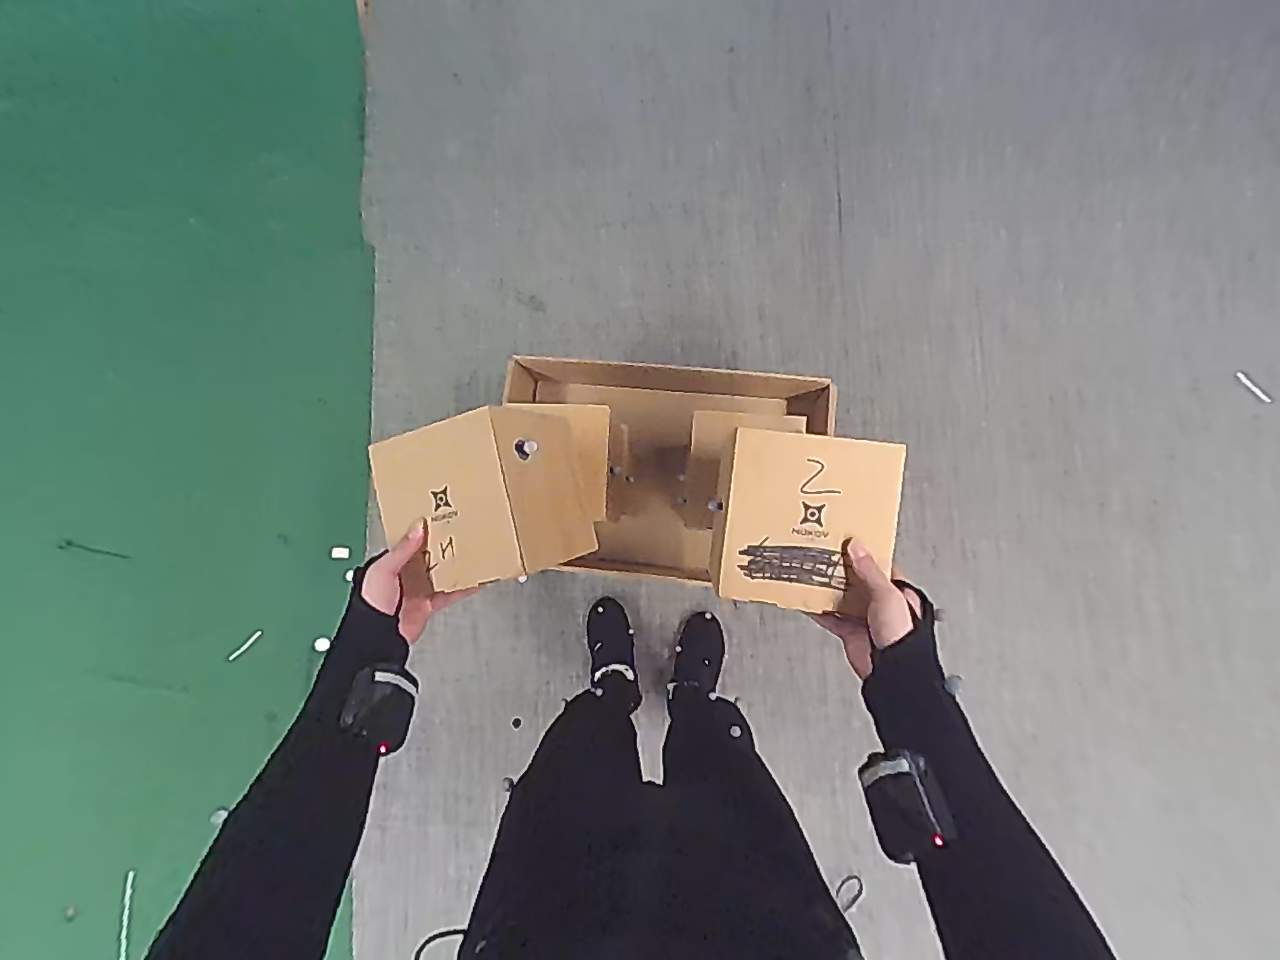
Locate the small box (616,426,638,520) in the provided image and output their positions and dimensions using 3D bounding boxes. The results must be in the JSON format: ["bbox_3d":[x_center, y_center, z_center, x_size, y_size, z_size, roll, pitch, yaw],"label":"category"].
[{"bbox_3d":[-0.103,-0.012,1.042,0.179,0.176,0.168,3,84,5],"label":"small box"}]

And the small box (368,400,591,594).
[{"bbox_3d":[-0.175,0.021,0.626,0.168,0.176,0.179,-13,87,20],"label":"small box"}]

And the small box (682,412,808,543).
[{"bbox_3d":[0.158,0.003,0.849,0.168,0.176,0.179,6,83,5],"label":"small box"}]

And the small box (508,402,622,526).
[{"bbox_3d":[-0.123,-0.019,0.880,0.168,0.176,0.179,3,84,5],"label":"small box"}]
